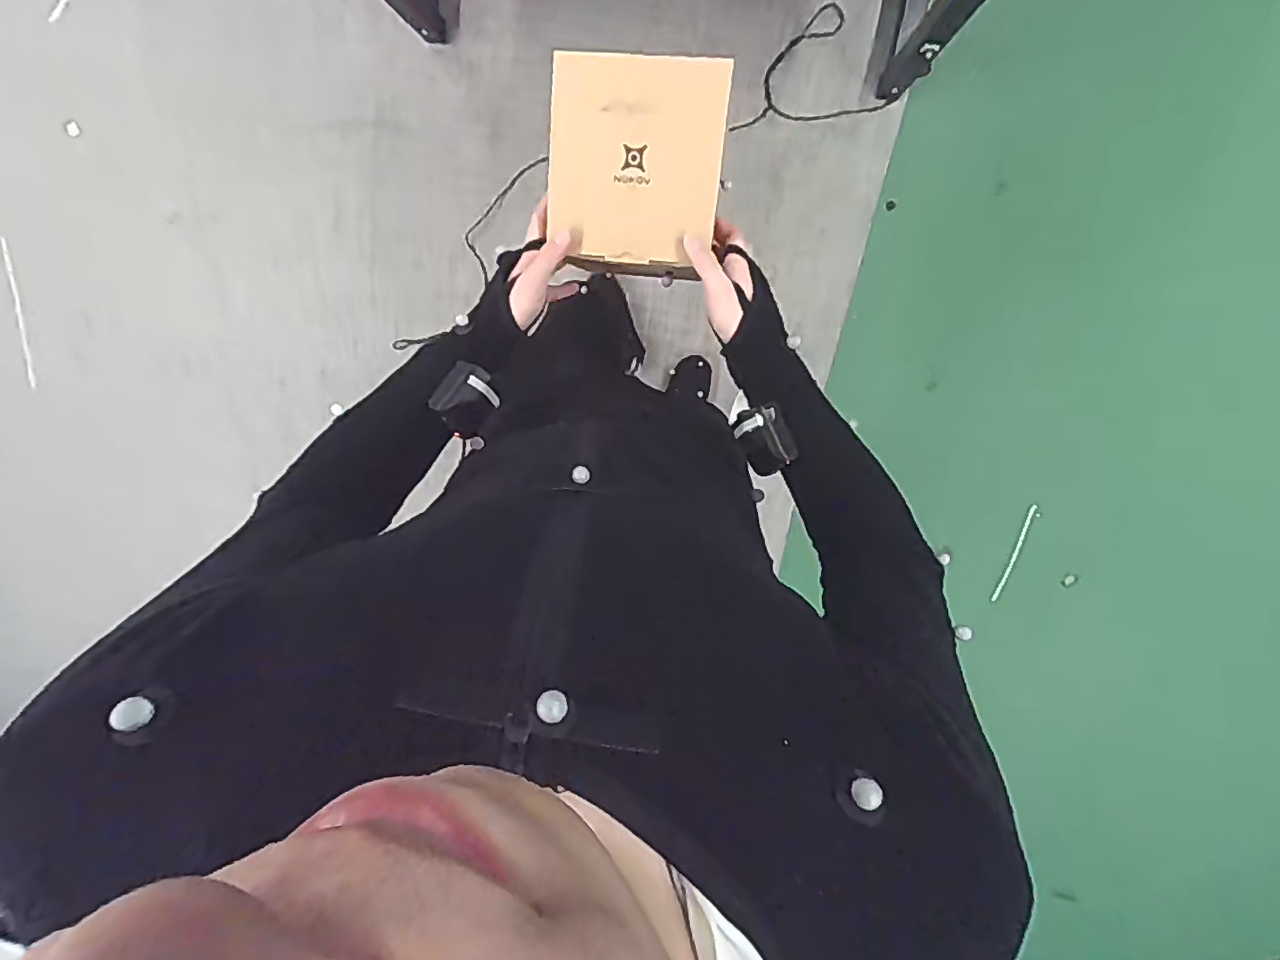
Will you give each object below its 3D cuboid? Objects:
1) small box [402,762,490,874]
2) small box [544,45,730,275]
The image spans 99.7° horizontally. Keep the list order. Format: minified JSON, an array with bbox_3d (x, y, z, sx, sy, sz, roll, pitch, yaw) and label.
[{"bbox_3d":[-0.520,0.908,1.466,0.168,0.176,0.179,15,110,3],"label":"small box"},{"bbox_3d":[0.002,-0.324,0.583,0.168,0.176,0.179,7,106,5],"label":"small box"}]
